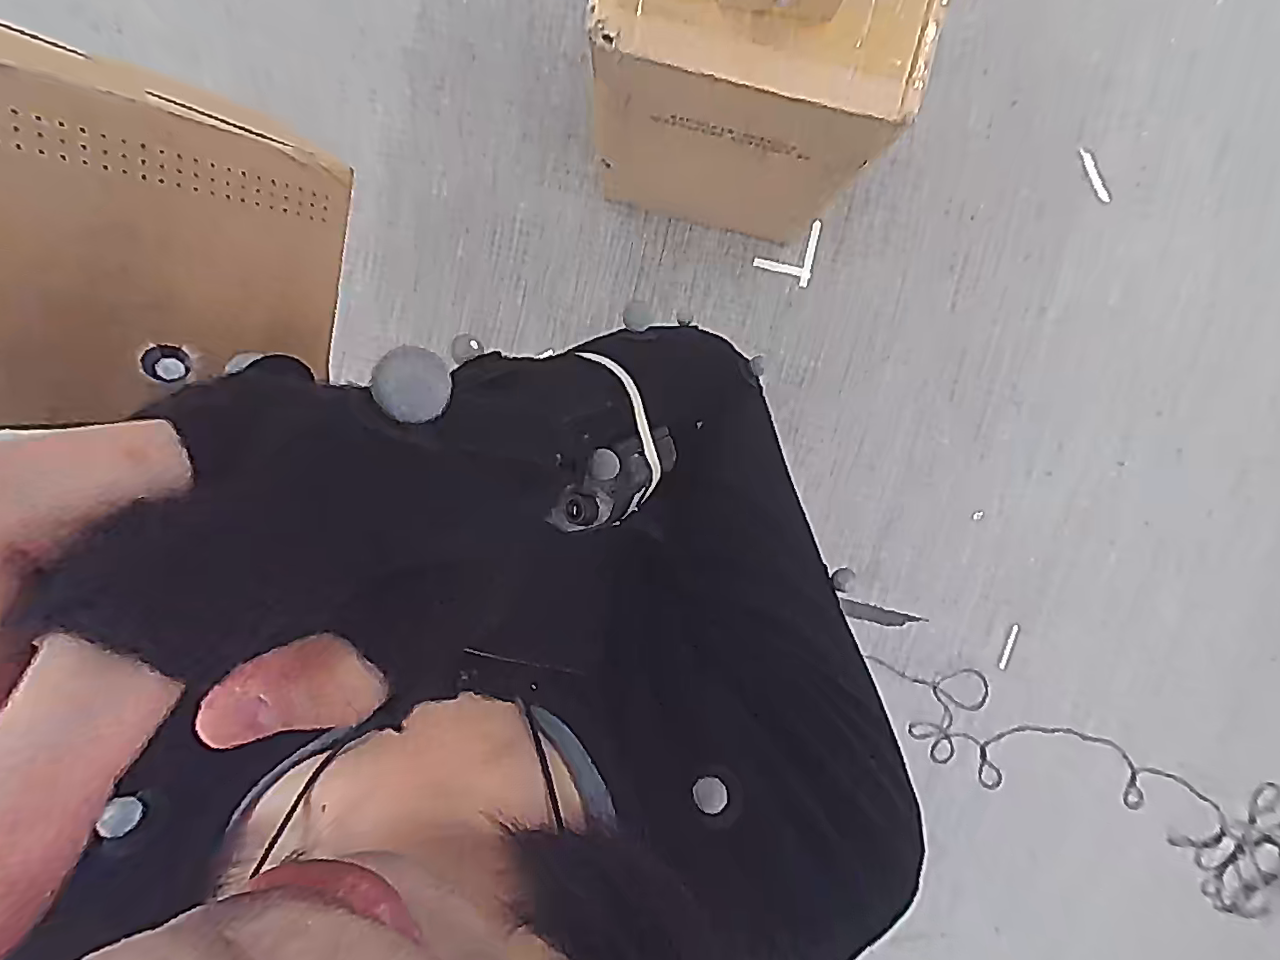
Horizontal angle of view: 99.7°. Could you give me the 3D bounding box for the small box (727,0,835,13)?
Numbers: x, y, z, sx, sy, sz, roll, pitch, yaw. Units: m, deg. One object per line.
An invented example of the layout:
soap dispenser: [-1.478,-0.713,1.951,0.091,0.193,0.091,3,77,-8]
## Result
small box: [0.214,-0.764,0.709,0.179,0.176,0.168,5,98,-2]
